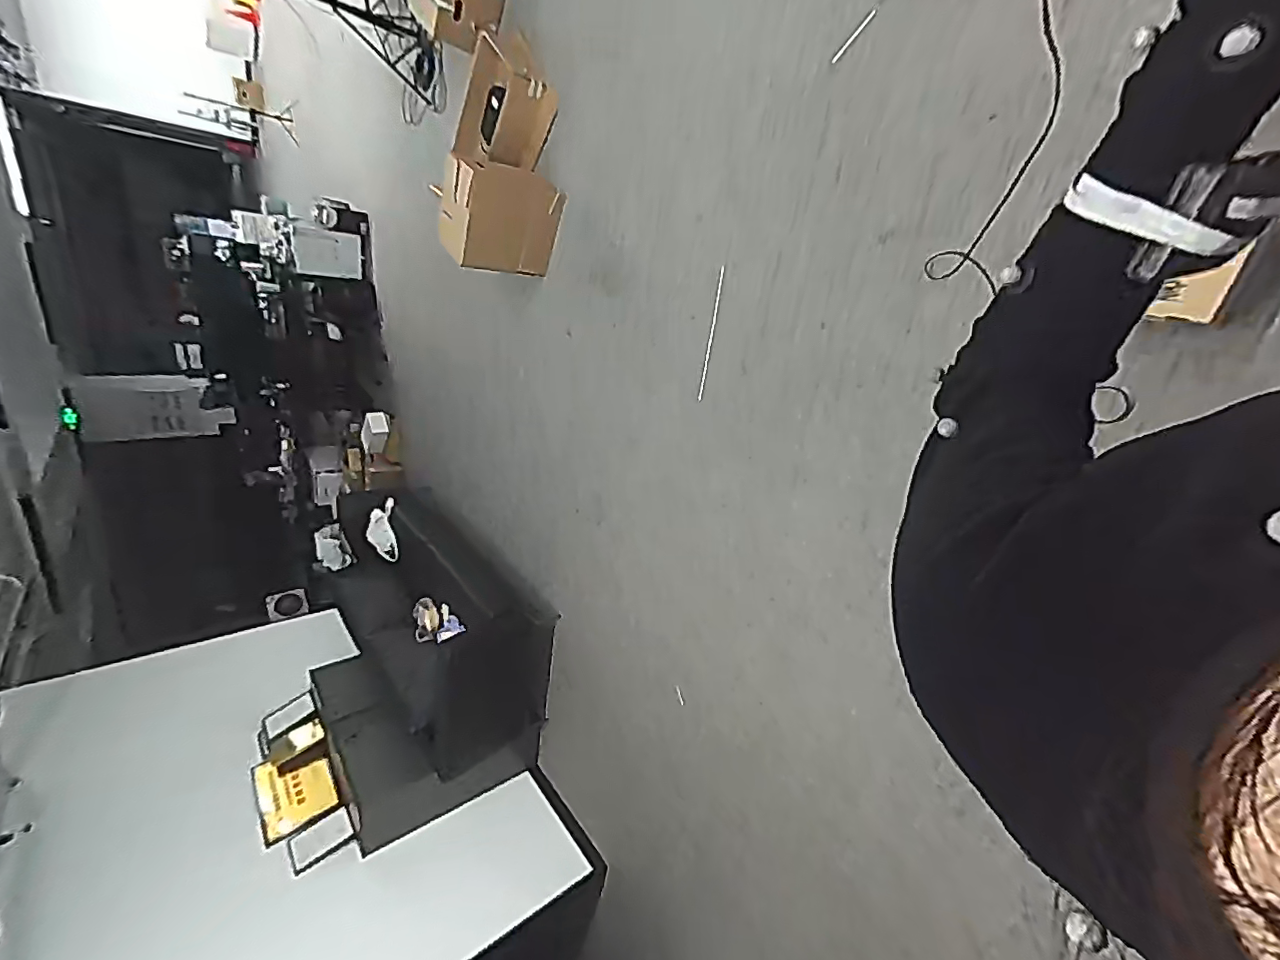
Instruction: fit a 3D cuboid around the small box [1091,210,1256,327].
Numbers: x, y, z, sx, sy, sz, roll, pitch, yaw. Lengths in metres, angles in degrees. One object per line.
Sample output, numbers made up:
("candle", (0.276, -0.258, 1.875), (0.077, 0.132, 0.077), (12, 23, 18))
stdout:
("small box", (1.005, -0.393, 1.018), (0.168, 0.176, 0.179), (32, 120, 42))
